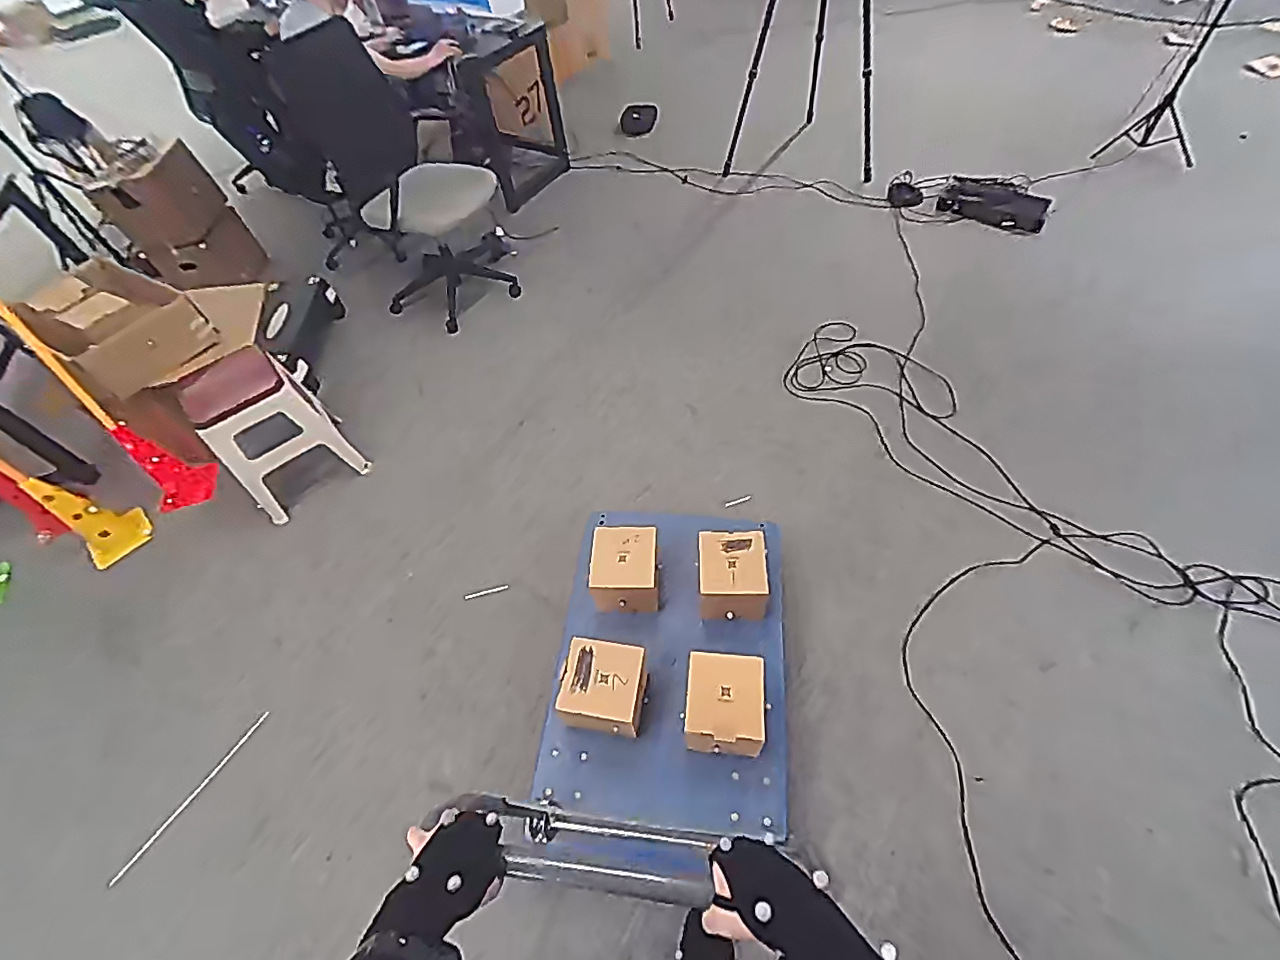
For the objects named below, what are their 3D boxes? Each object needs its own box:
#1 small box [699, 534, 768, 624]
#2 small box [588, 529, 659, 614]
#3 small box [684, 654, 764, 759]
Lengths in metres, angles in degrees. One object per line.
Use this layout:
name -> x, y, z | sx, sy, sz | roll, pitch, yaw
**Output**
small box -> 0.238, 0.259, 1.408 | 0.168, 0.176, 0.179 | 0, 55, 6
small box -> -0.036, 0.248, 1.442 | 0.168, 0.176, 0.179 | 1, 54, 5
small box -> 0.189, 0.516, 1.228 | 0.168, 0.176, 0.179 | 3, 55, 8
